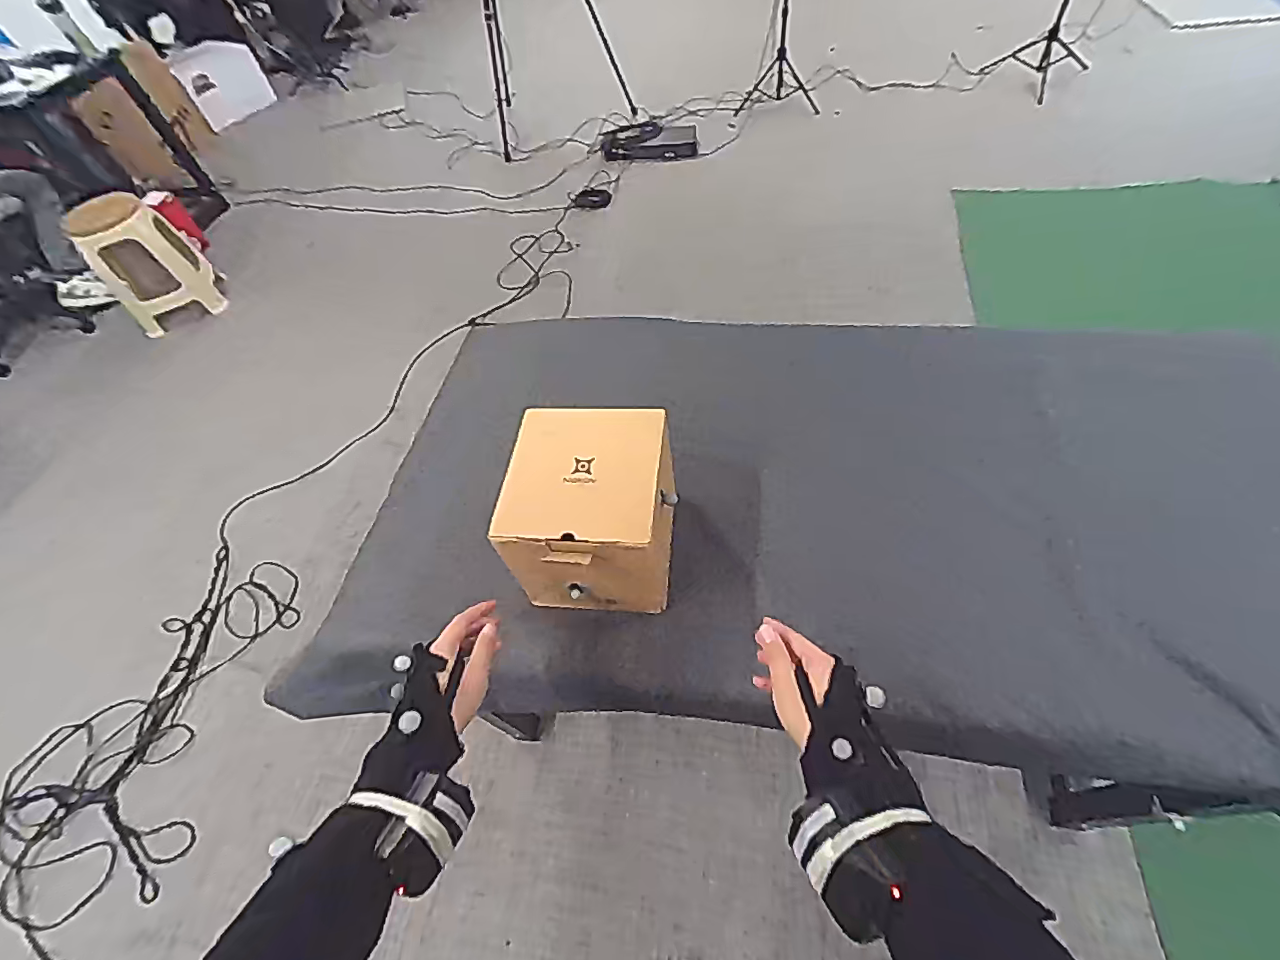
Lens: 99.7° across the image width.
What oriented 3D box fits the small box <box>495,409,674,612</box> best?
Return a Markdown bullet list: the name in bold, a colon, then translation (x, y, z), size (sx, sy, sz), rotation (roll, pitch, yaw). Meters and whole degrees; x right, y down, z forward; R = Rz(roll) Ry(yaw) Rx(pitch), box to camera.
- **small box**: translation (-0.049, 0.037, 0.638), size (0.168, 0.176, 0.179), rotation (1, 55, 8)
